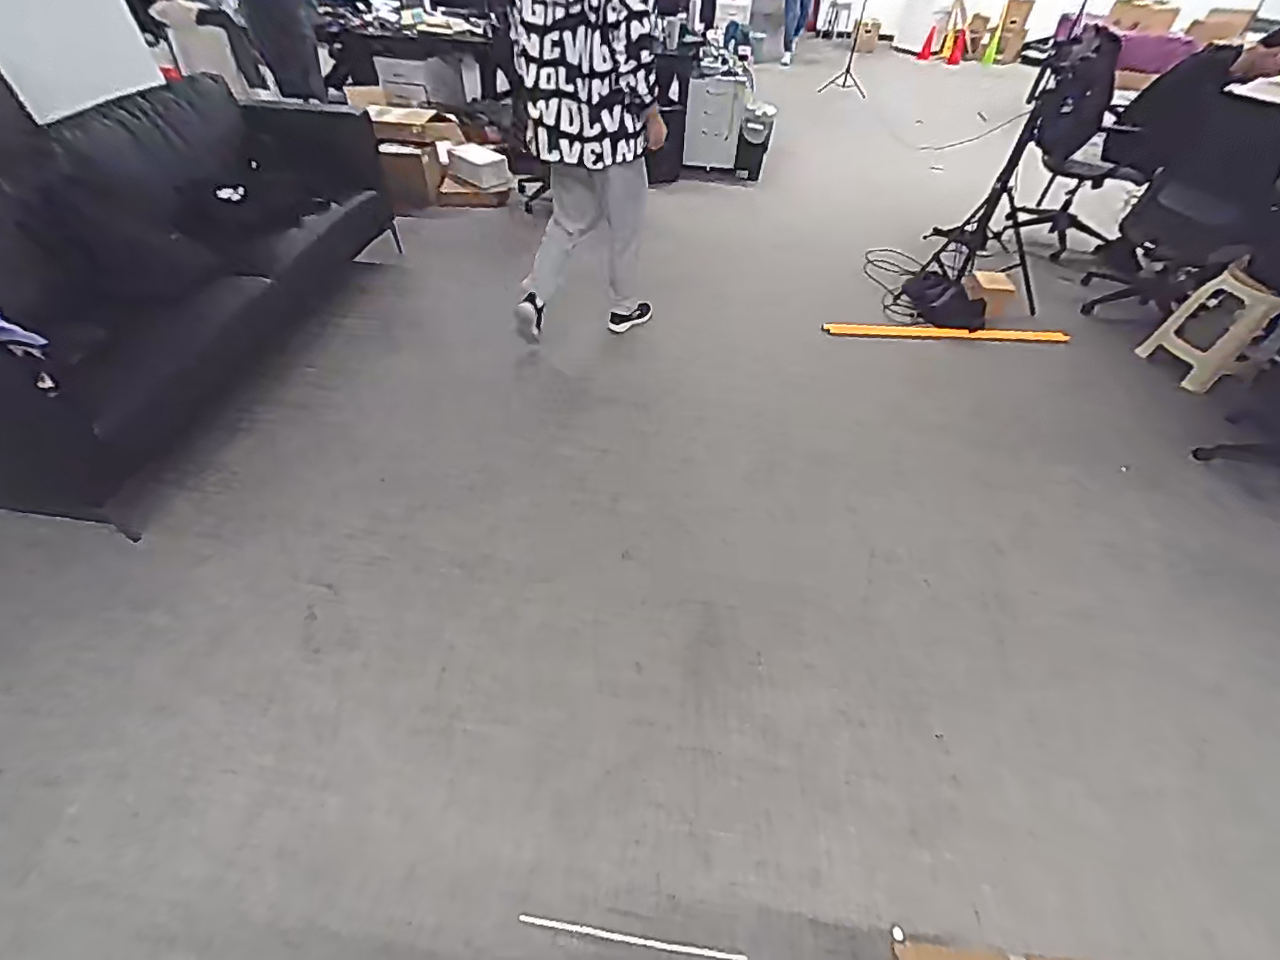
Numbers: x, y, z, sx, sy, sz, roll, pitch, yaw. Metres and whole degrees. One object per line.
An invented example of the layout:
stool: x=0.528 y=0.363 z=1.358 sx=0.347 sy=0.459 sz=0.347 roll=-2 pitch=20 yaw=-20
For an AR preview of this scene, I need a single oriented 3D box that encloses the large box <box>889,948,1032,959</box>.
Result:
large box: x=0.473 y=0.792 z=0.531 sx=0.320 sy=0.408 sz=0.320 roll=2 pitch=87 yaw=7
